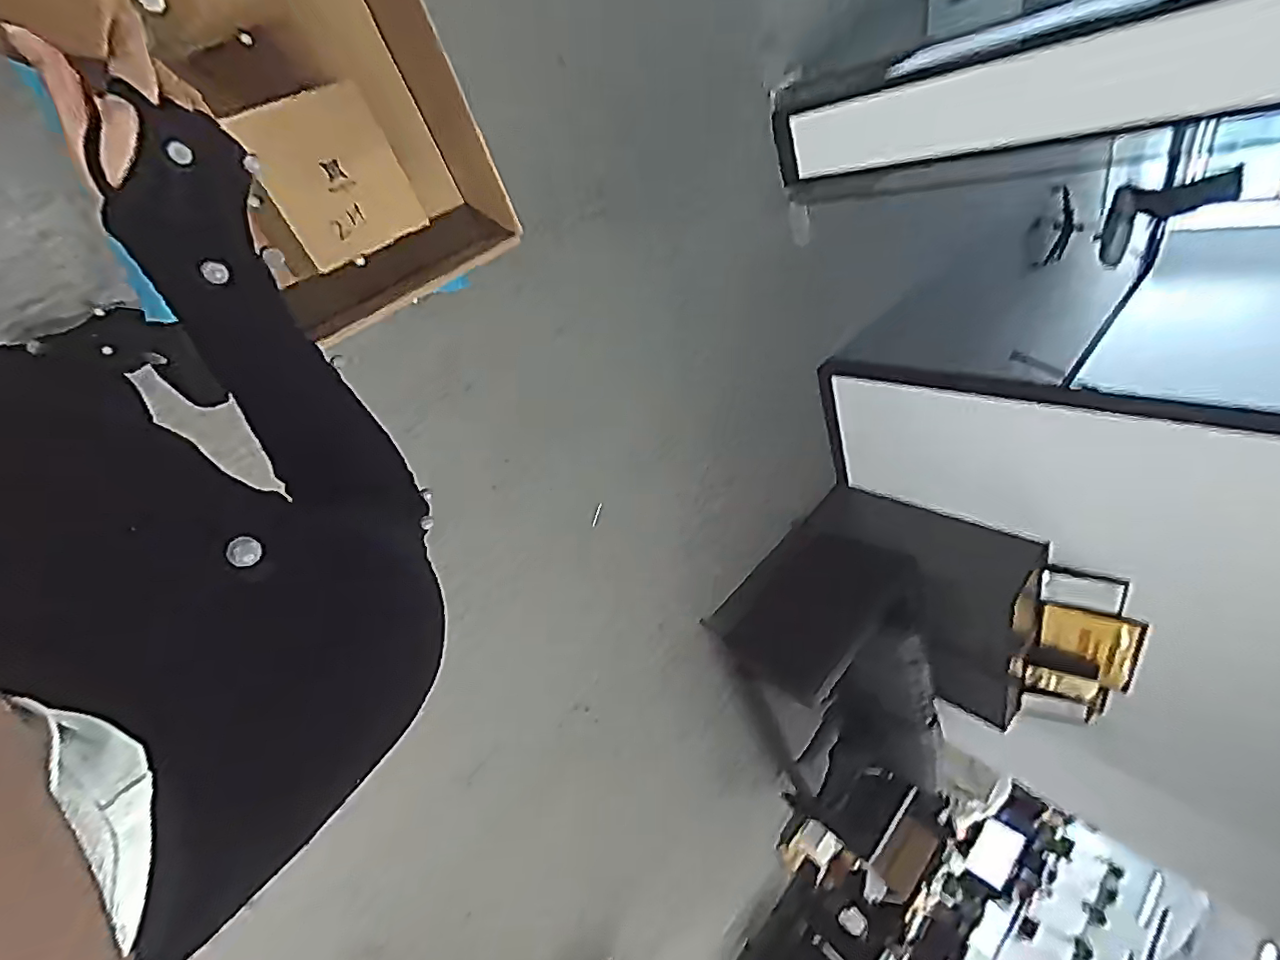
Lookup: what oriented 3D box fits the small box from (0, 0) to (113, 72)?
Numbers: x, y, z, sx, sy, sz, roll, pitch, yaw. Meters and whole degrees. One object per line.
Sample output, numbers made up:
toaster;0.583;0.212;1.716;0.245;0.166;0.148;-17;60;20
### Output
small box;-0.359;-0.337;0.245;0.179;0.176;0.168;9;95;-45
